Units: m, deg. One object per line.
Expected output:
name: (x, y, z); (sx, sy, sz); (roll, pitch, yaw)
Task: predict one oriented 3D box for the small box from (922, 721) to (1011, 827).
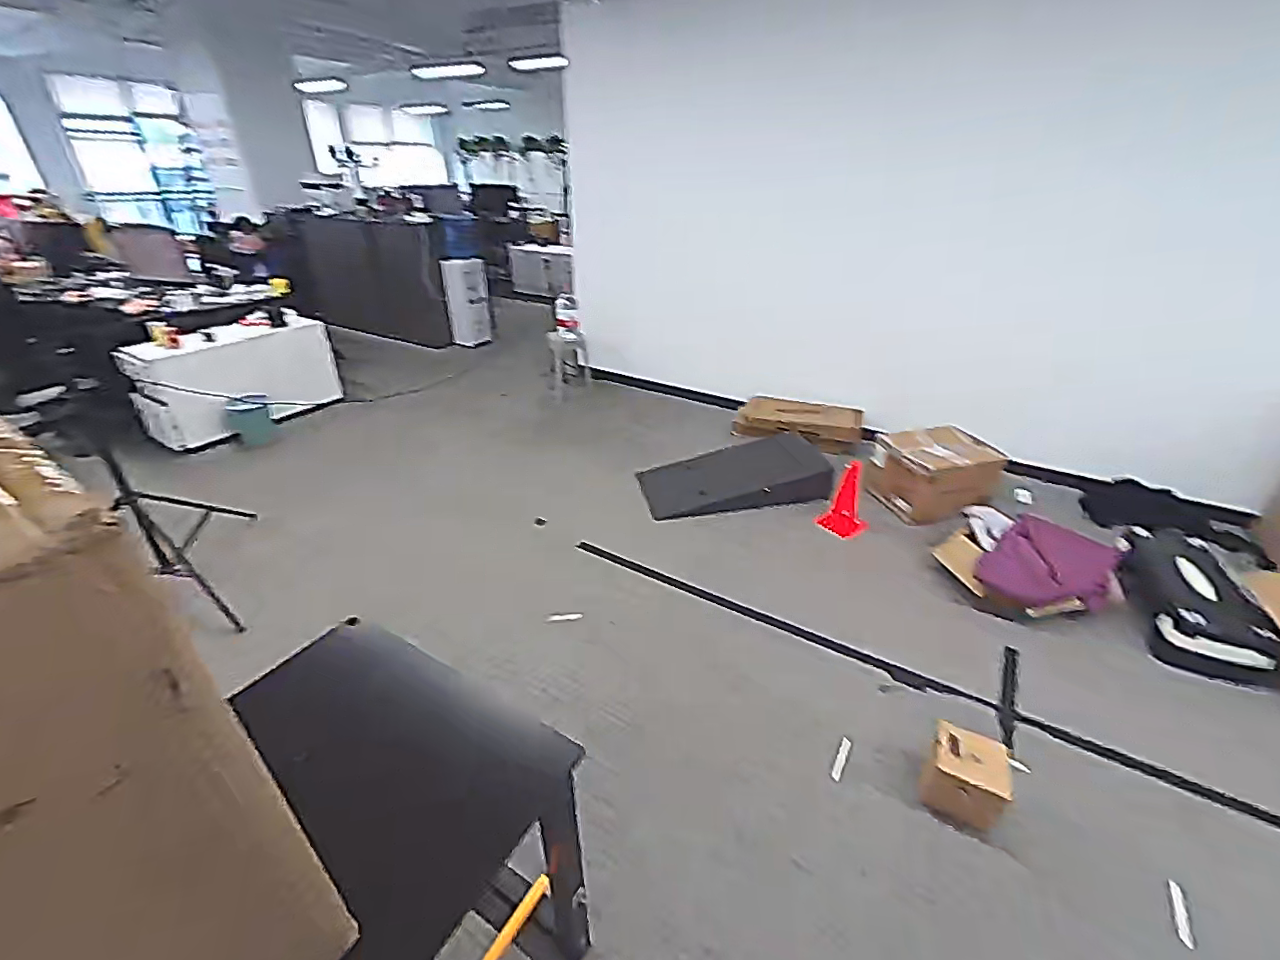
small box: (0.906, 0.823, 1.513); (0.179, 0.176, 0.168); (16, 34, 23)
